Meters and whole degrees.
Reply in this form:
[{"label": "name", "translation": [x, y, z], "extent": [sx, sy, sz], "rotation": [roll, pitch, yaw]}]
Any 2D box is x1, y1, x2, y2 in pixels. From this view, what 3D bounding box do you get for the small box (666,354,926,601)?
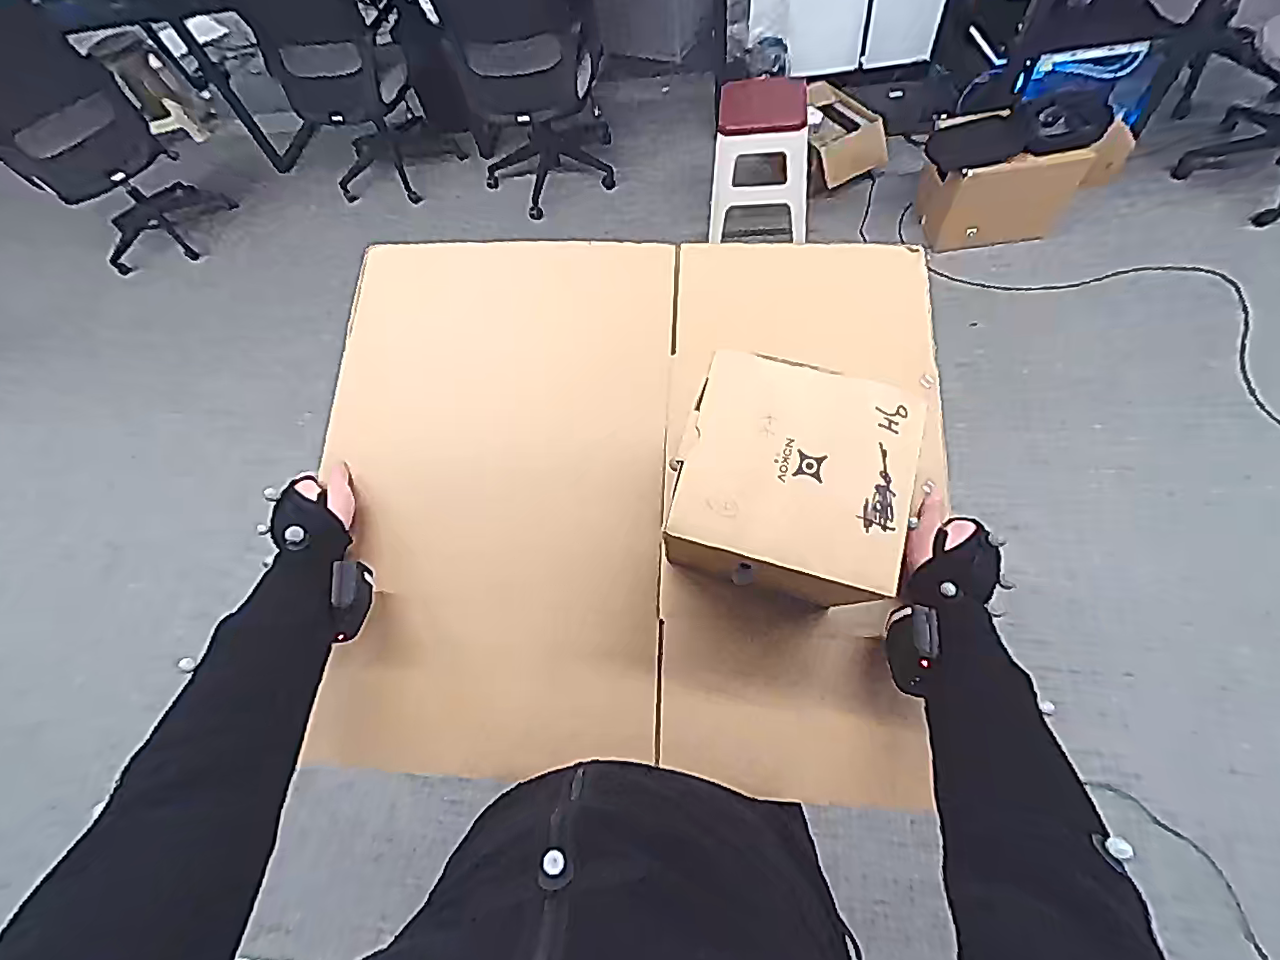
[{"label": "small box", "translation": [0.131, 0.010, 0.504], "extent": [0.179, 0.176, 0.168], "rotation": [15, 76, 9]}]
